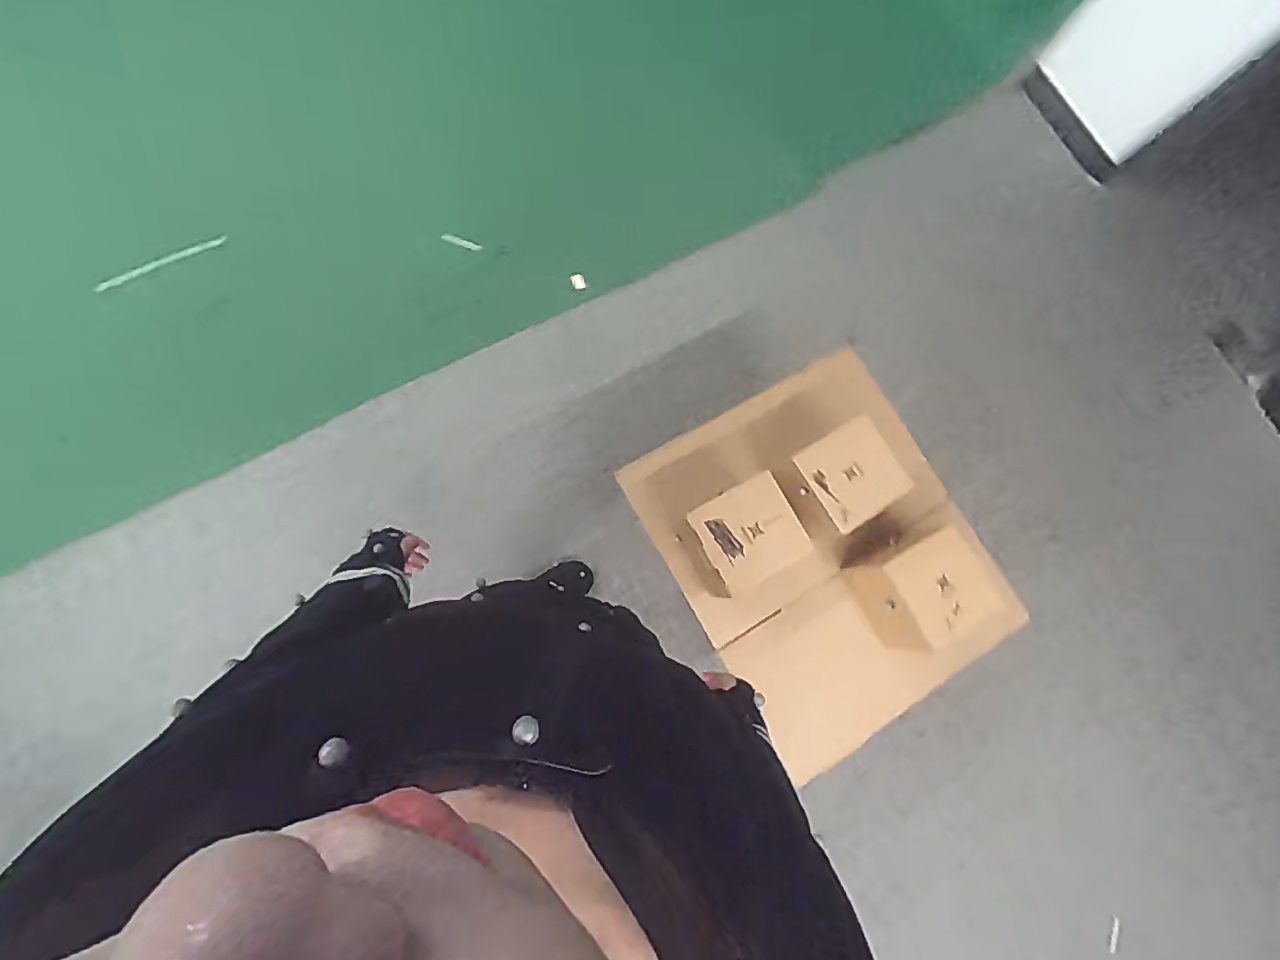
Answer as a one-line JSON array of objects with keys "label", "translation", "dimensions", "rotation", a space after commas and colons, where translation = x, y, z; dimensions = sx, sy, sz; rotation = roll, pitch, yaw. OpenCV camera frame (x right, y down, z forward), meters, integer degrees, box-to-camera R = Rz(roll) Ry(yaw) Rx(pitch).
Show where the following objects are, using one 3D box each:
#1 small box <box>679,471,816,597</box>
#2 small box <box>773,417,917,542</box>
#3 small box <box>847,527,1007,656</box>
[{"label": "small box", "translation": [0.186, 0.106, 1.007], "dimensions": [0.179, 0.176, 0.168], "rotation": [-27, 83, -10]}, {"label": "small box", "translation": [0.381, 0.006, 1.046], "dimensions": [0.179, 0.176, 0.168], "rotation": [-30, 83, -11]}, {"label": "small box", "translation": [0.527, 0.211, 1.023], "dimensions": [0.168, 0.176, 0.179], "rotation": [-26, 81, -10]}]
